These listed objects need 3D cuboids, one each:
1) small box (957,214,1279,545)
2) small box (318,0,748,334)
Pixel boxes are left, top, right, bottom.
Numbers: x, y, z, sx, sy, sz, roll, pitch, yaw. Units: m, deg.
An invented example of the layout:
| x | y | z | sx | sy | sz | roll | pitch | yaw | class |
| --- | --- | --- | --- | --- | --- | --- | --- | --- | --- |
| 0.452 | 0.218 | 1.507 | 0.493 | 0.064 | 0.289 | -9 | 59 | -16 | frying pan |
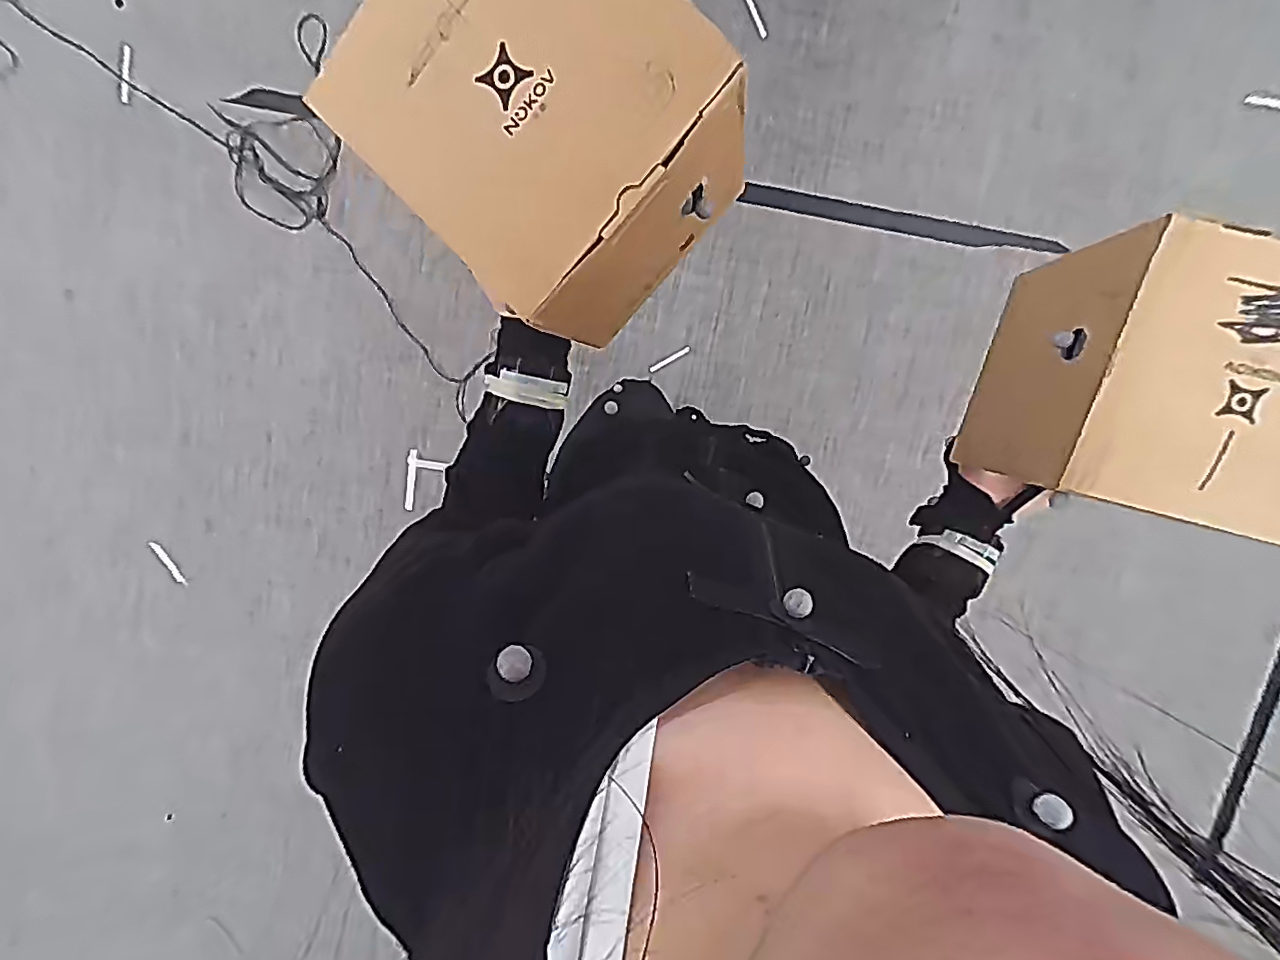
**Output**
| x | y | z | sx | sy | sz | roll | pitch | yaw | class |
| --- | --- | --- | --- | --- | --- | --- | --- | --- | --- |
| 0.382 | -0.070 | 0.415 | 0.168 | 0.176 | 0.179 | 16 | 100 | 5 | small box |
| -0.048 | -0.214 | 0.355 | 0.179 | 0.176 | 0.168 | 44 | 103 | 1 | small box |
